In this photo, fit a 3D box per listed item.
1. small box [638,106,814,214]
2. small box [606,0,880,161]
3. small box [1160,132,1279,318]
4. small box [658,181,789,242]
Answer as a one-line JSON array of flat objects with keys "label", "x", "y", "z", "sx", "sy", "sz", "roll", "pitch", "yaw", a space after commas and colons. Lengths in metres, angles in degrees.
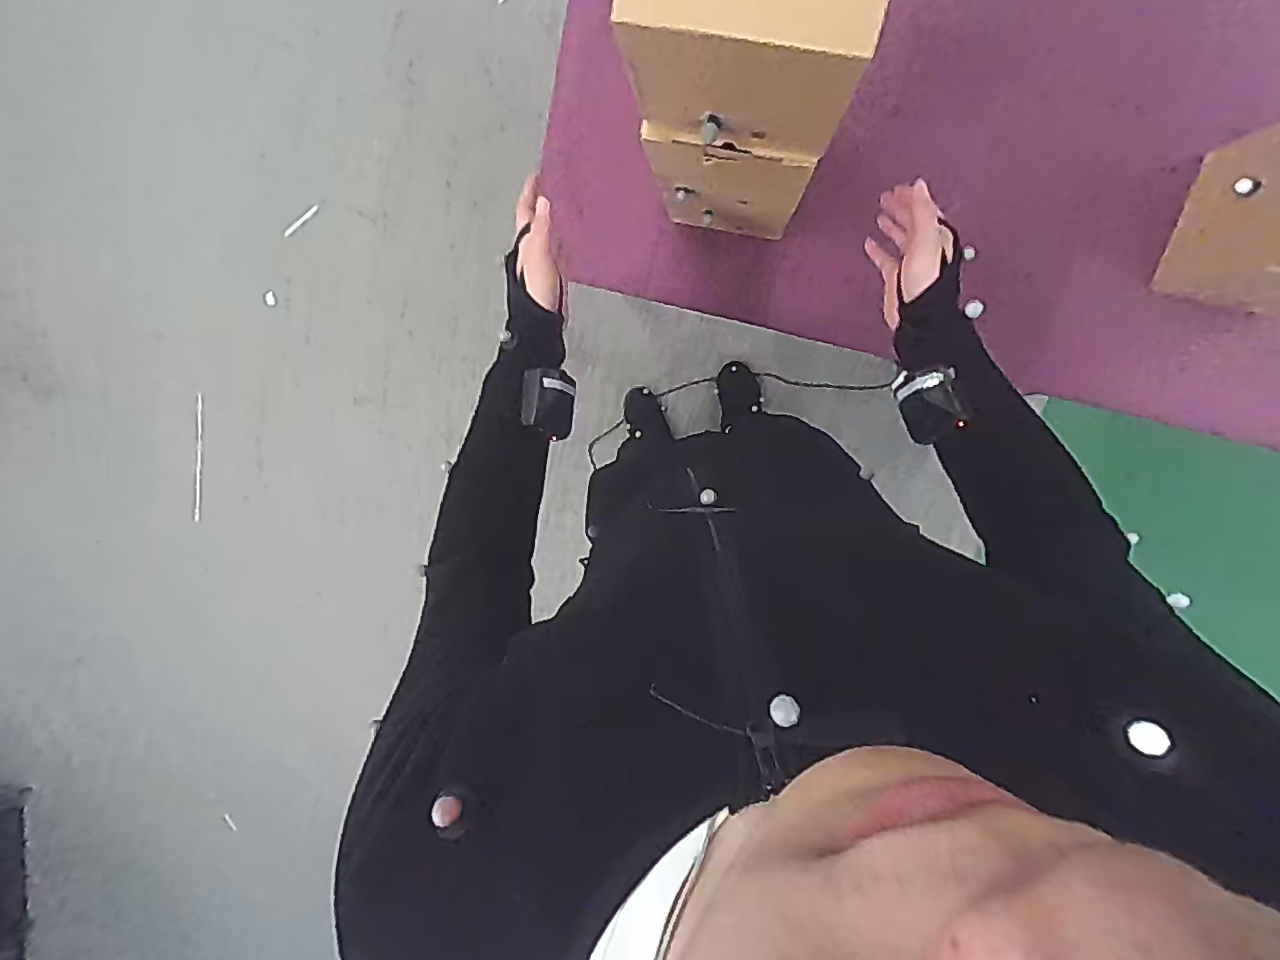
[{"label": "small box", "x": 0.105, "y": -0.392, "z": 0.550, "sx": 0.168, "sy": 0.176, "sz": 0.179, "roll": 13, "pitch": 102, "yaw": 6}, {"label": "small box", "x": 0.085, "y": -0.366, "z": 0.390, "sx": 0.168, "sy": 0.176, "sz": 0.179, "roll": 14, "pitch": 104, "yaw": 6}, {"label": "small box", "x": 0.782, "y": -0.302, "z": 0.633, "sx": 0.168, "sy": 0.176, "sz": 0.179, "roll": 14, "pitch": 103, "yaw": 7}, {"label": "small box", "x": 0.129, "y": -0.428, "z": 0.709, "sx": 0.168, "sy": 0.176, "sz": 0.179, "roll": 12, "pitch": 103, "yaw": 6}]
